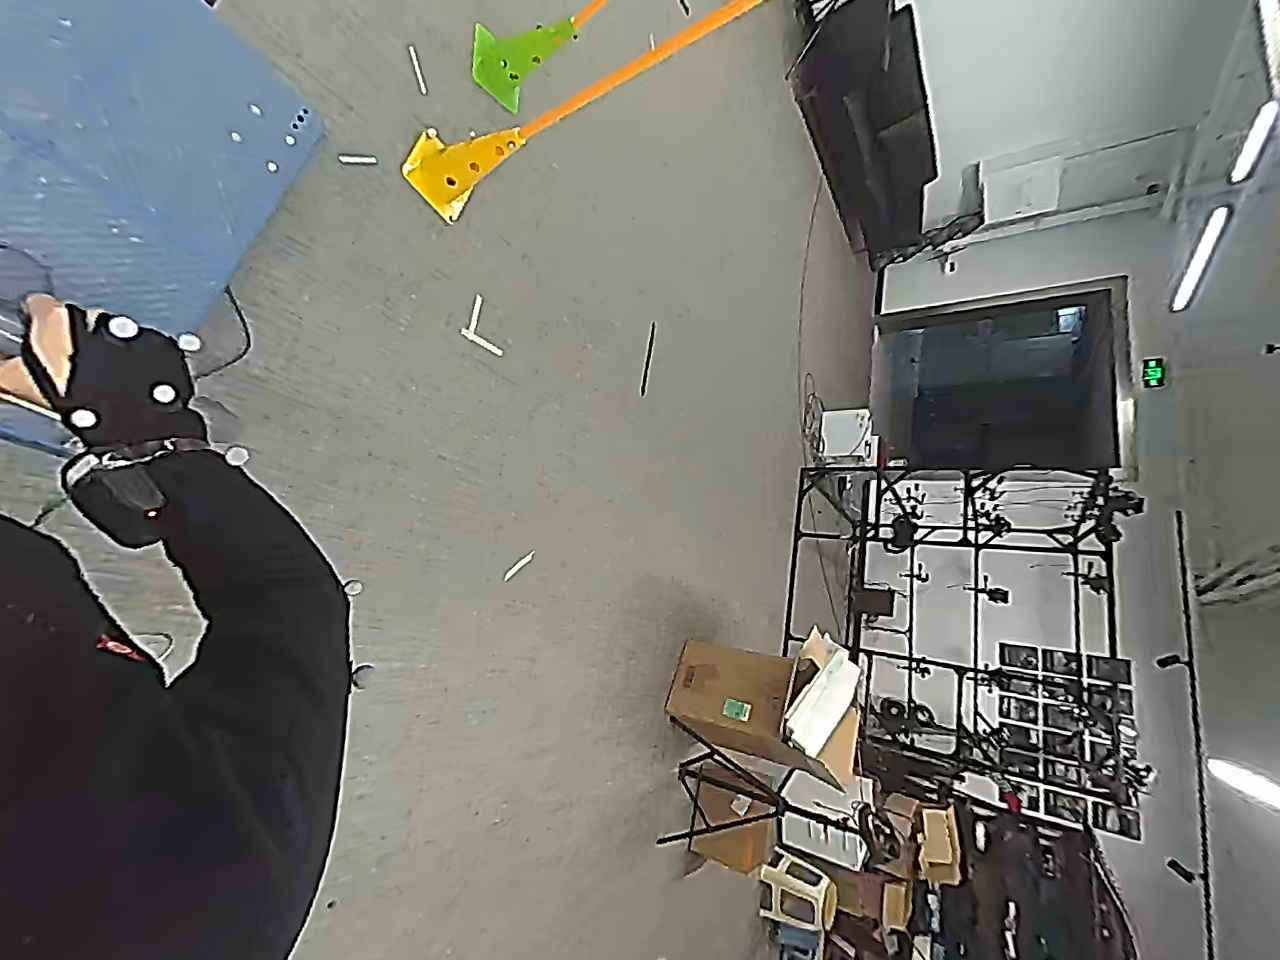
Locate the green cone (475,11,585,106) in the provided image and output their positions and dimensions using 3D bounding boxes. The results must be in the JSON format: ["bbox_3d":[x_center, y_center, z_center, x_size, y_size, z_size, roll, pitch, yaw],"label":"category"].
[{"bbox_3d":[-0.331,-1.410,1.733,0.200,0.368,0.202,7,87,-56],"label":"green cone"}]
